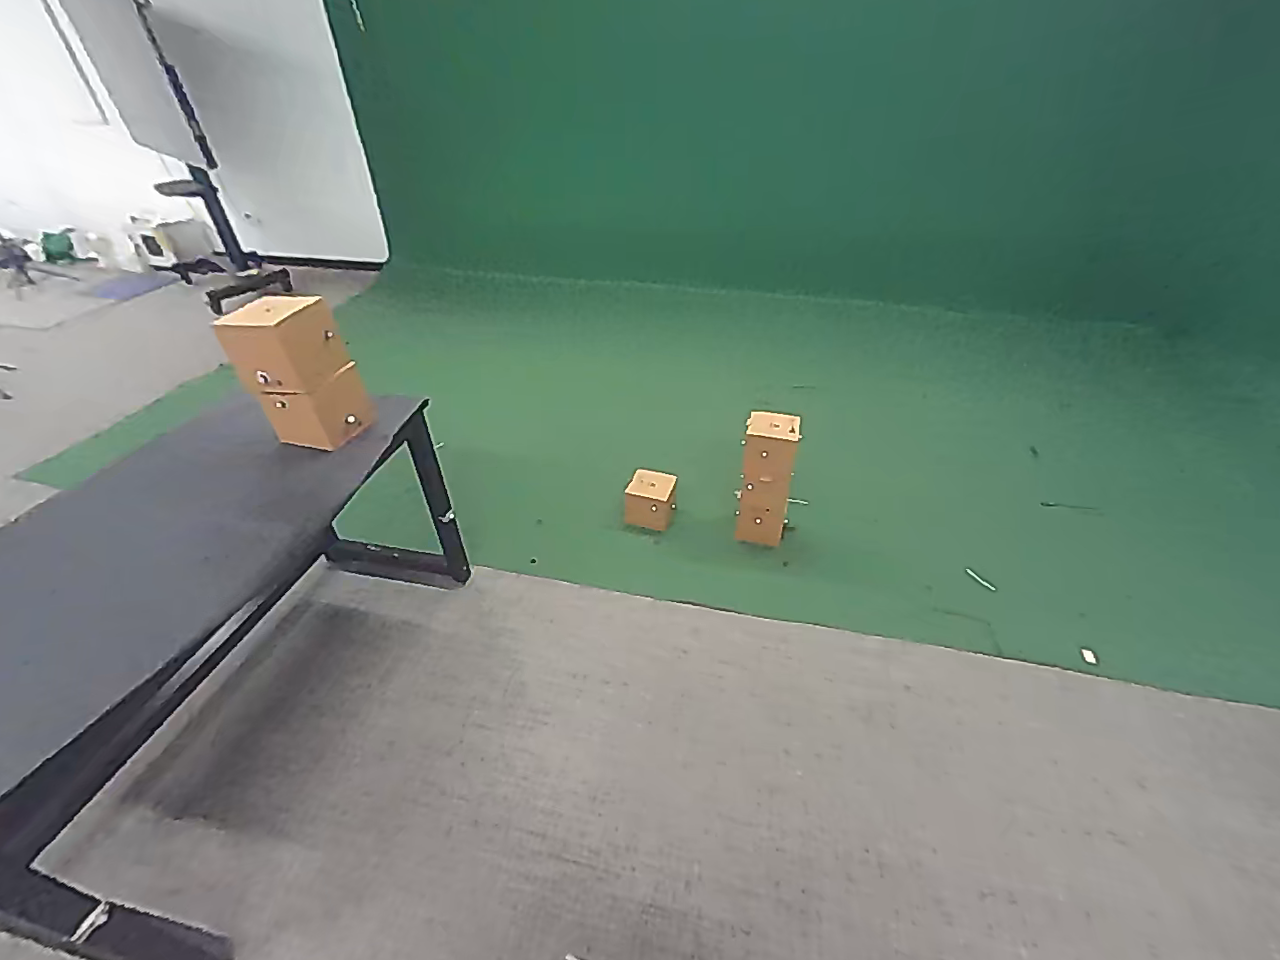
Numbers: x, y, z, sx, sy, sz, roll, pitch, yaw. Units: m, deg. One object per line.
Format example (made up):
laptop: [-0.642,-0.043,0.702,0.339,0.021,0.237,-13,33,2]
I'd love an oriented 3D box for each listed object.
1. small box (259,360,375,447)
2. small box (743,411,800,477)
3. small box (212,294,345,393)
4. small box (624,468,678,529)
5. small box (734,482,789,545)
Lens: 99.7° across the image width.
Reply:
small box: [-0.818,-0.200,1.373,0.179,0.176,0.168,10,40,15]
small box: [0.467,-0.127,1.932,0.179,0.176,0.168,9,39,13]
small box: [-0.827,-0.321,1.265,0.168,0.176,0.179,3,40,11]
small box: [0.045,0.078,2.200,0.179,0.176,0.168,12,39,15]
small box: [0.479,0.133,2.132,0.179,0.176,0.168,10,40,13]
